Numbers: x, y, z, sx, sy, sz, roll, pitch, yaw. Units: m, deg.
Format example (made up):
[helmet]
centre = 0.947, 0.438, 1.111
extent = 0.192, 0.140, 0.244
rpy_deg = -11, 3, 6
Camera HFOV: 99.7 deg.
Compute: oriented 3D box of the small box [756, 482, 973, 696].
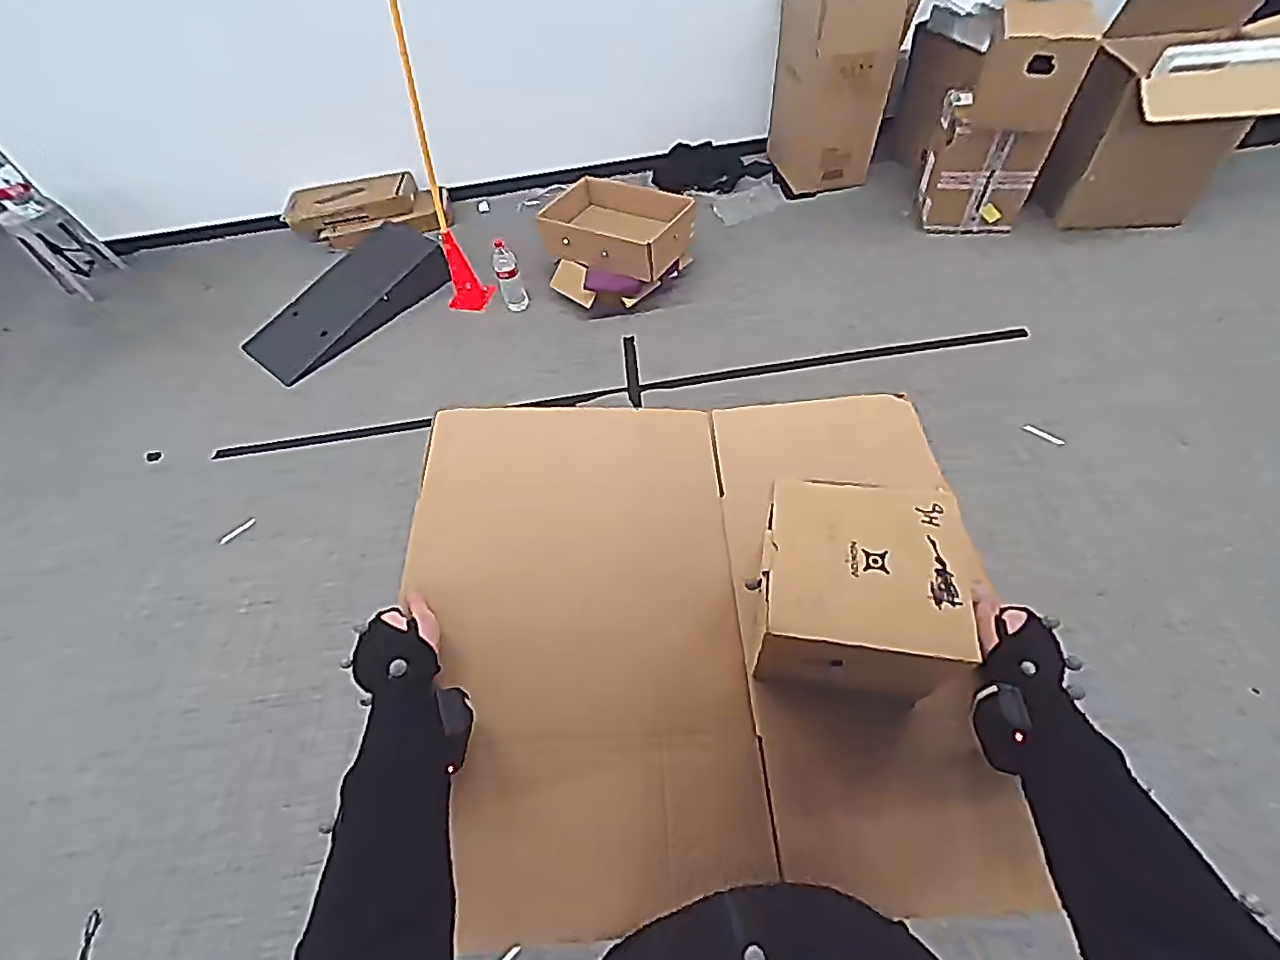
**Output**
[small box]
centre = 0.218, 0.119, 0.574
extent = 0.179, 0.176, 0.168
rpy_deg = 5, 58, 11
